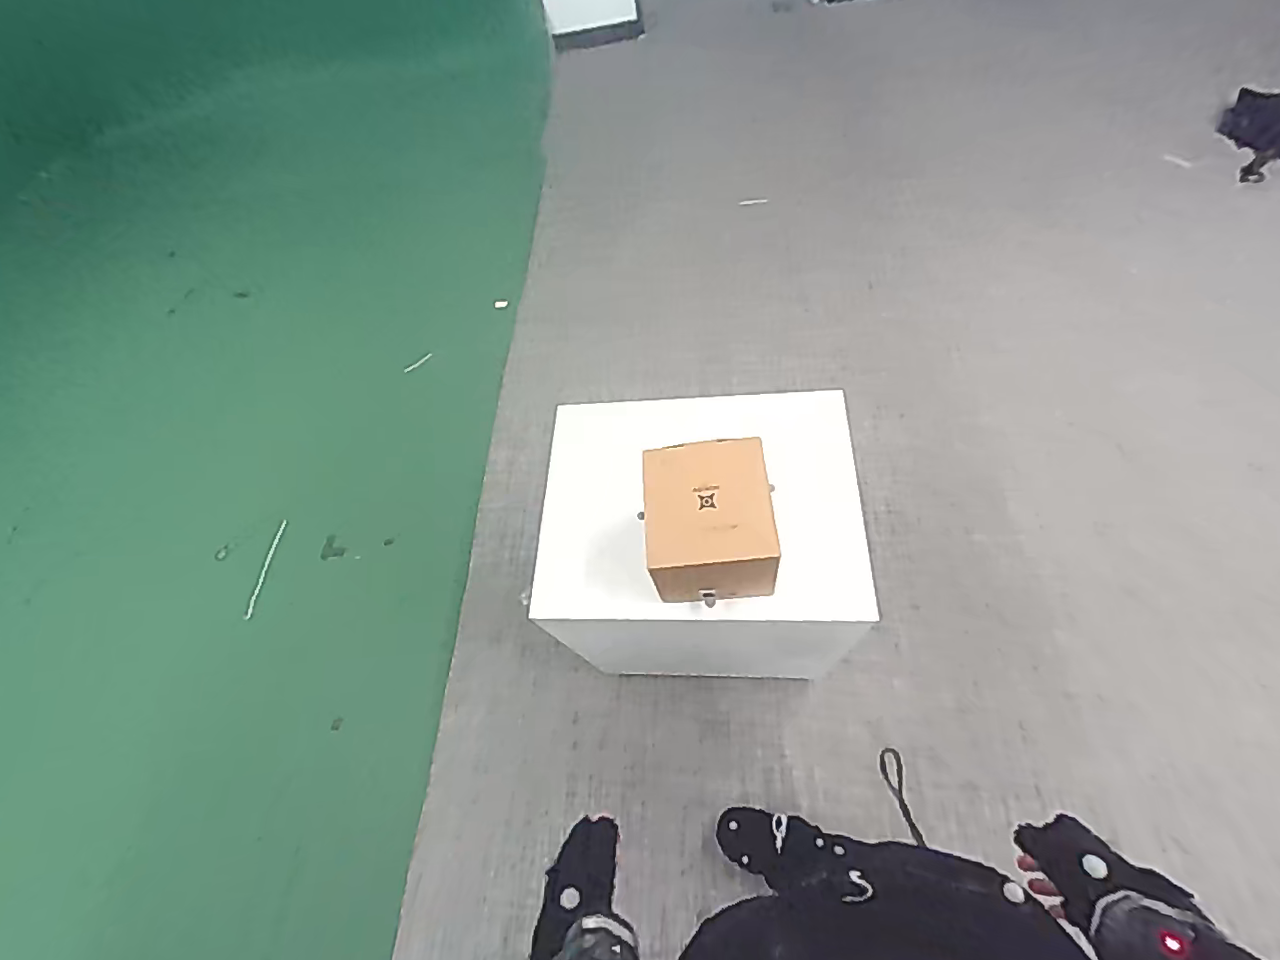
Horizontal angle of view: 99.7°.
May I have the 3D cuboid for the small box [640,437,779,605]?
[{"bbox_3d":[0.095,0.063,0.759,0.168,0.176,0.179,-8,62,8],"label":"small box"}]
